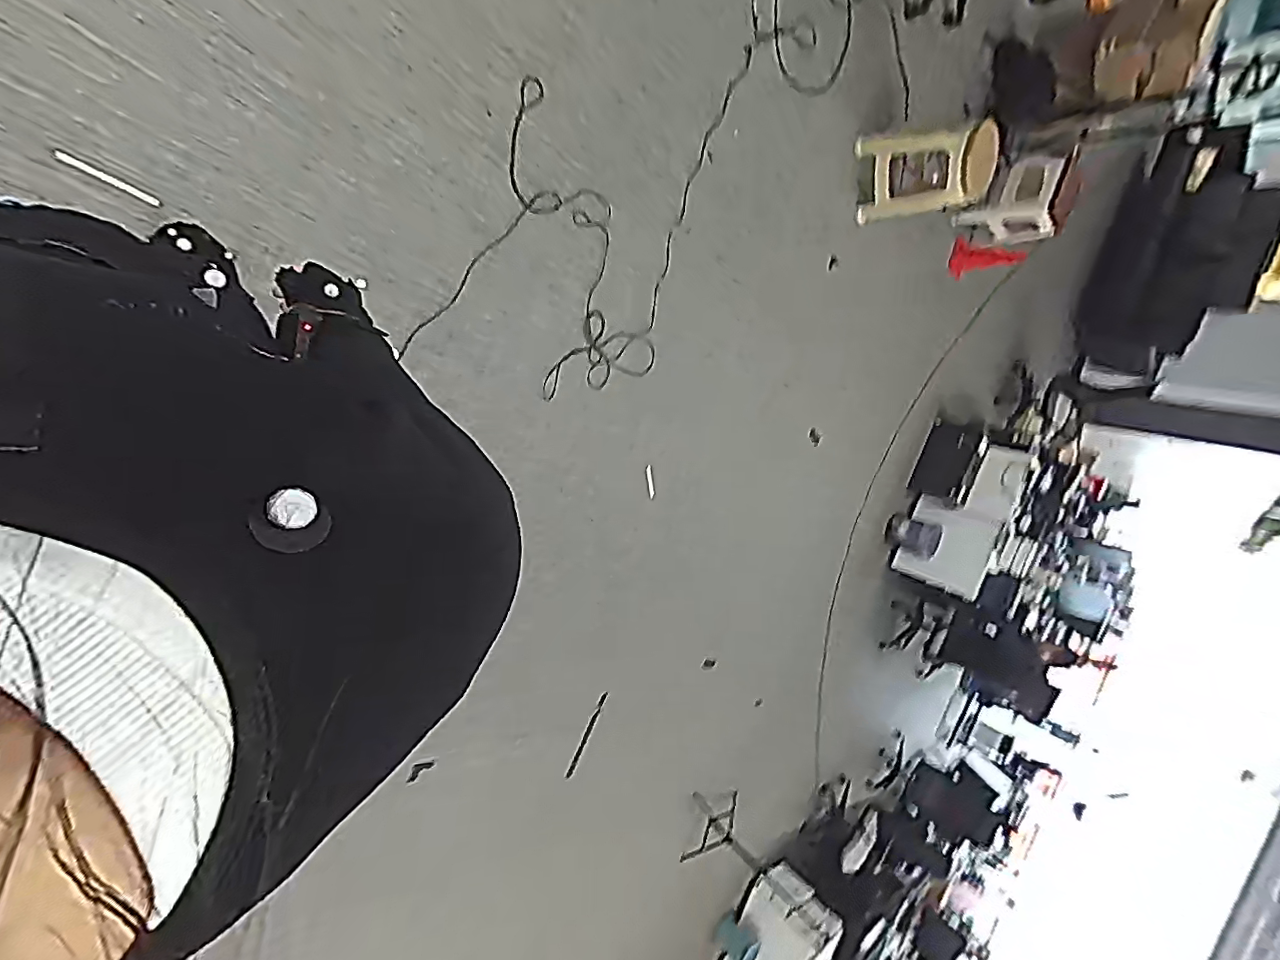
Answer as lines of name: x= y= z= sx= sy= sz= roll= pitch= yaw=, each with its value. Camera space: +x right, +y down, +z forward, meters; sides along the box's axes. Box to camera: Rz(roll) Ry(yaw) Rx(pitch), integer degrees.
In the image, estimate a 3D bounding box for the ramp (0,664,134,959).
ramp: x=-1.410 y=0.827 z=0.968 sx=0.509 sy=0.206 sz=0.991 roll=20 pitch=91 yaw=-43
